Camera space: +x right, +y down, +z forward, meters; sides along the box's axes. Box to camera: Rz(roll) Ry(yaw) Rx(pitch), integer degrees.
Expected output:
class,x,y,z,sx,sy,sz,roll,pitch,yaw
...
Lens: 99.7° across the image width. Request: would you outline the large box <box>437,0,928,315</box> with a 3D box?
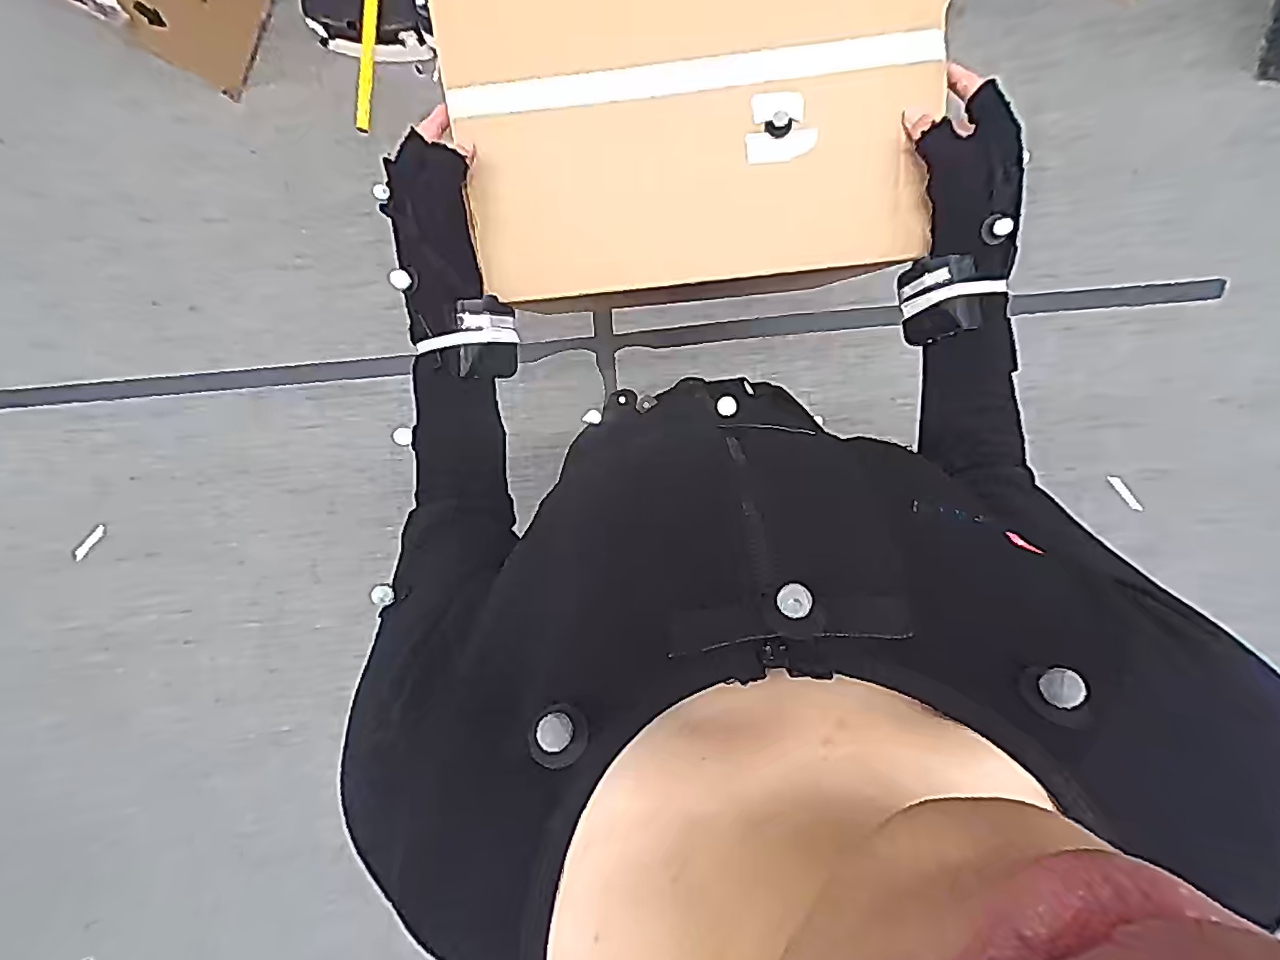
class,x,y,z,sx,sy,sz,roll,pitch,yaw
large box,0.038,-0.371,0.598,0.408,0.320,0.320,-6,105,1
